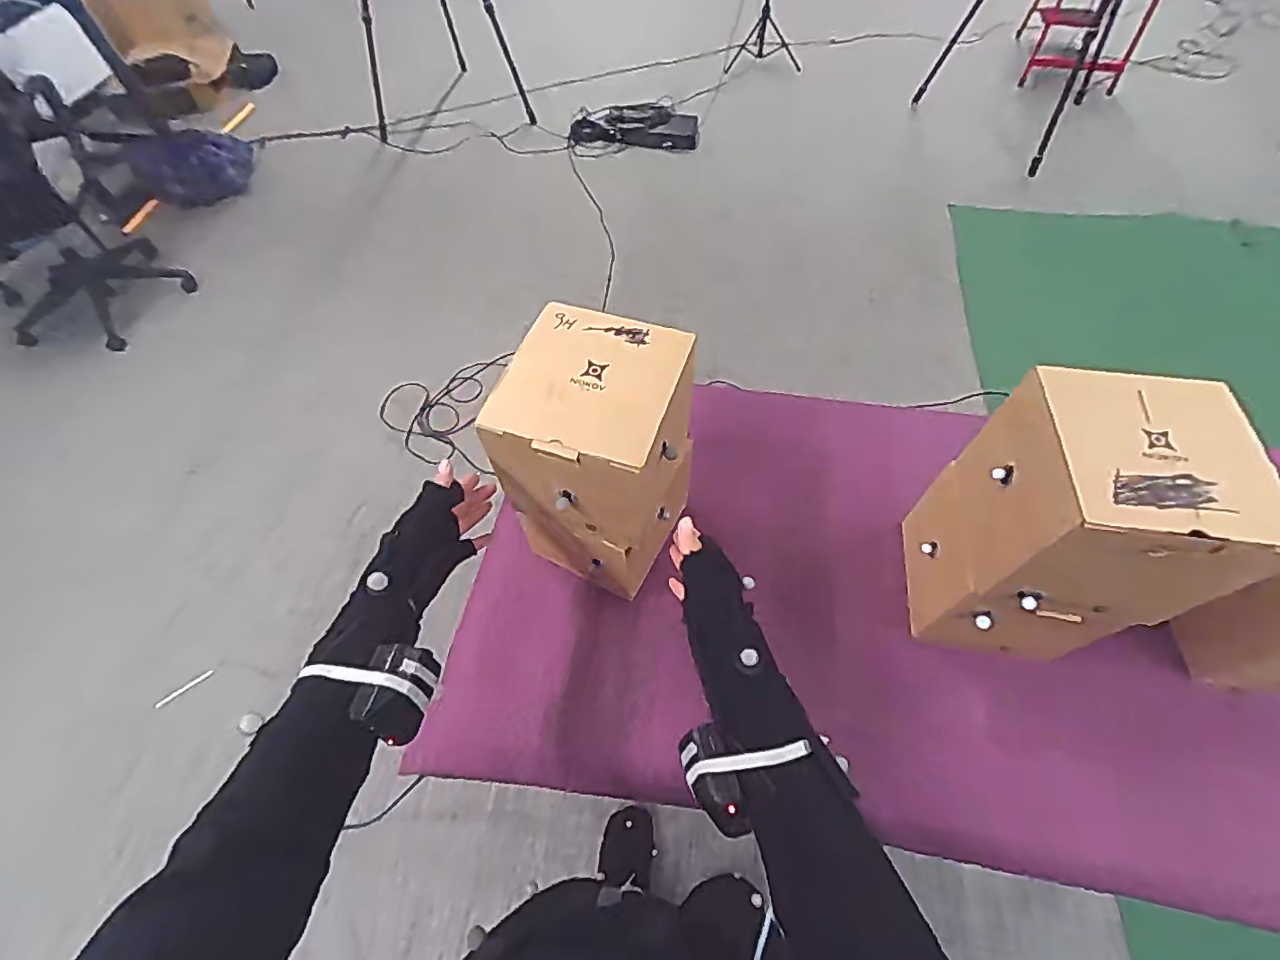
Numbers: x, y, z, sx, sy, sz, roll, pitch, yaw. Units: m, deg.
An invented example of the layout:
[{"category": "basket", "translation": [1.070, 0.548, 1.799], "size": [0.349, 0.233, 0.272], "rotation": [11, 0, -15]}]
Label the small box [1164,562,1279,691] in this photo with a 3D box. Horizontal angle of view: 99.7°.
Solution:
[{"category": "small box", "translation": [0.761, 0.138, 0.634], "size": [0.168, 0.176, 0.179], "rotation": [4, 58, 5]}]

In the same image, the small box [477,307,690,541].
[{"category": "small box", "translation": [-0.046, -0.054, 0.588], "size": [0.168, 0.176, 0.179], "rotation": [13, 60, 9]}]

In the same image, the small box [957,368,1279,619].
[{"category": "small box", "translation": [0.438, 0.020, 0.523], "size": [0.168, 0.176, 0.179], "rotation": [7, 57, 6]}]

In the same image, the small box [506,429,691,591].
[{"category": "small box", "translation": [-0.043, 0.020, 0.713], "size": [0.168, 0.176, 0.179], "rotation": [24, 61, 15]}]
